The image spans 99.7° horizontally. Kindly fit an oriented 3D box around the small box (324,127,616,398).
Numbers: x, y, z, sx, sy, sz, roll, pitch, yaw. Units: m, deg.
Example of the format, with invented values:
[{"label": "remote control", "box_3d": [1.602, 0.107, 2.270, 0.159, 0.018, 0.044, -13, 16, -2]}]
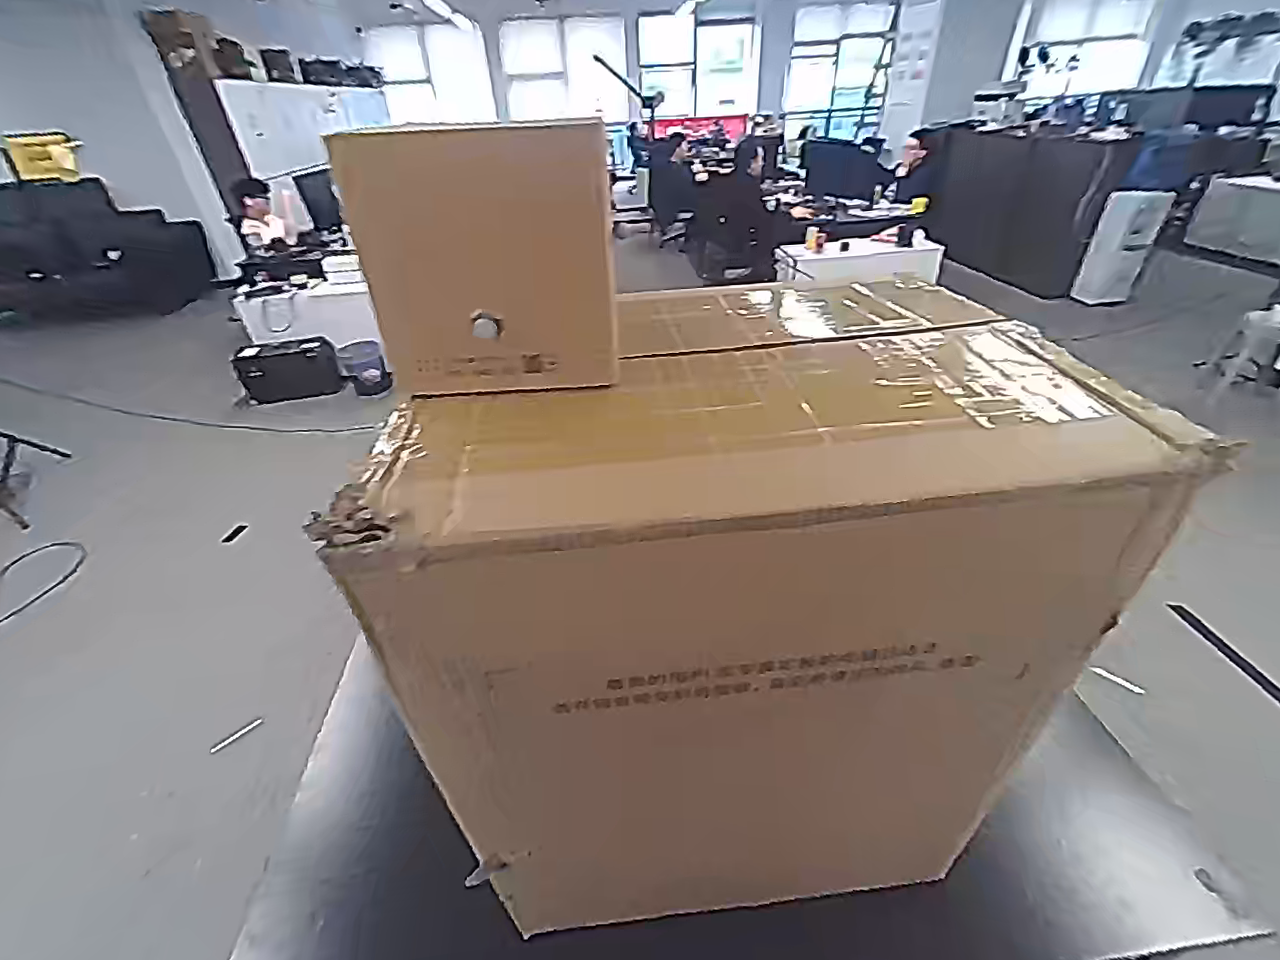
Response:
[{"label": "small box", "box_3d": [-0.108, -0.179, 0.434, 0.168, 0.176, 0.179, -4, 35, -1]}]
